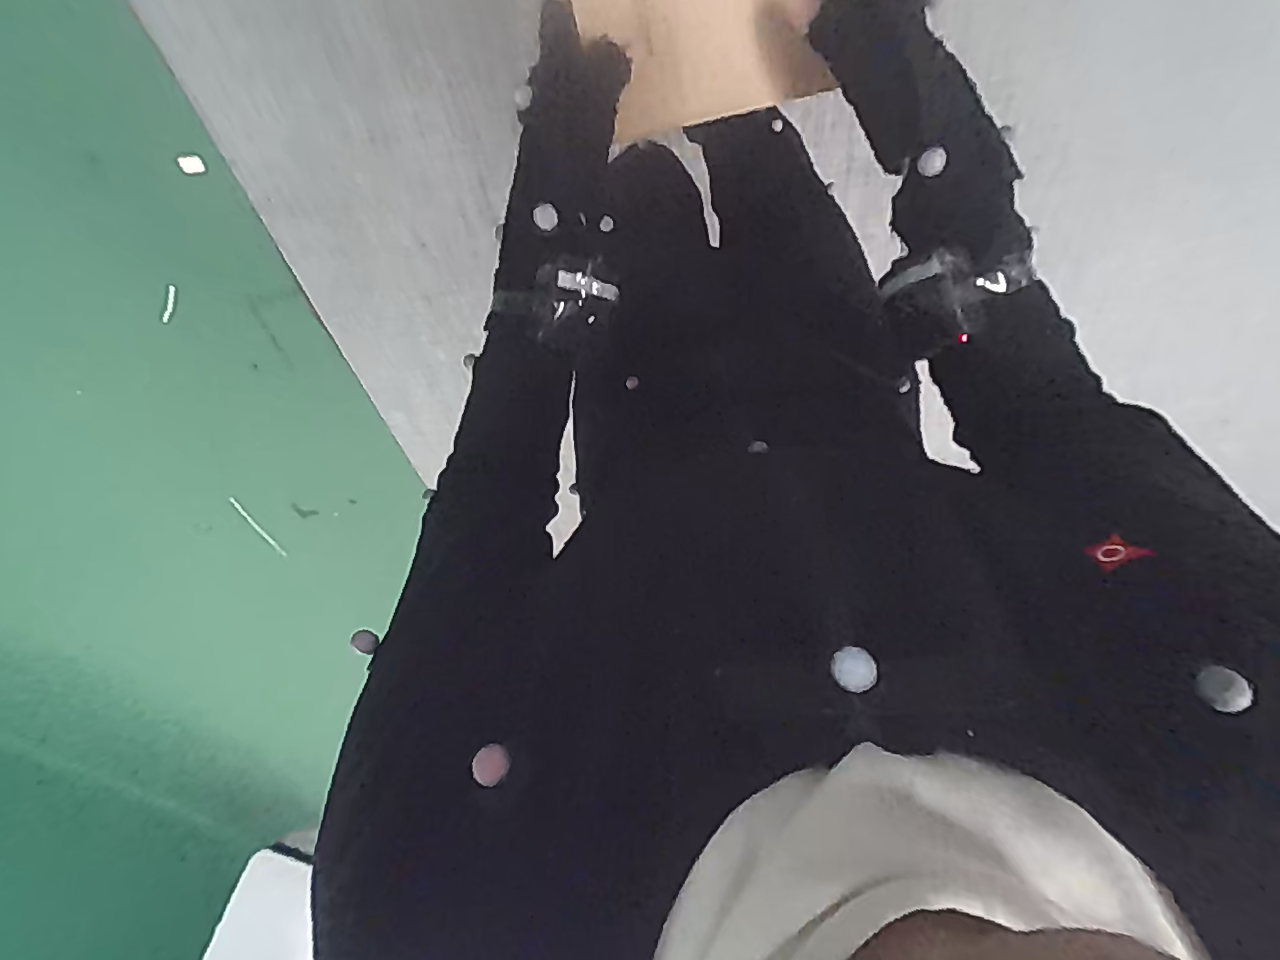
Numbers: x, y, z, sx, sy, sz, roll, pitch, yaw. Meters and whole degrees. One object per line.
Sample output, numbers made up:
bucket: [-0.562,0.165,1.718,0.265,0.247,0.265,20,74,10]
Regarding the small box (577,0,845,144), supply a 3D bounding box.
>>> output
small box: [0.042,-0.380,0.406,0.179,0.176,0.168,-10,130,8]
